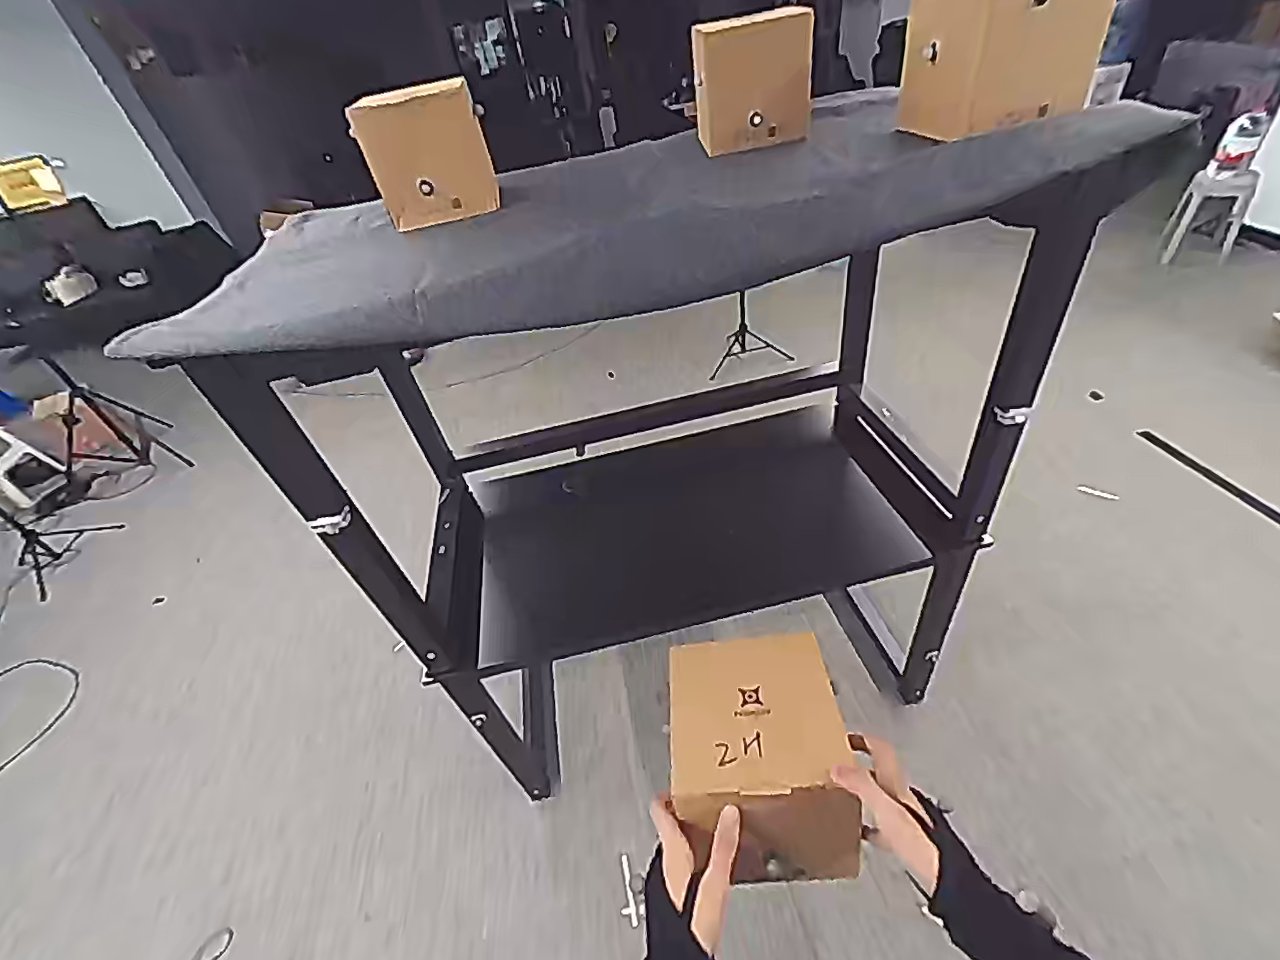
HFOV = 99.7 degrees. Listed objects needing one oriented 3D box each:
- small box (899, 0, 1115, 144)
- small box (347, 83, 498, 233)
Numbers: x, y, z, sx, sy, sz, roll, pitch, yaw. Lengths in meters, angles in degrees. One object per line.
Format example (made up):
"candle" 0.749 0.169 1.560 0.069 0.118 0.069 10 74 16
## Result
"small box" 0.474 -0.567 0.726 0.168 0.176 0.179 -13 39 0
"small box" -0.334 -0.517 0.869 0.168 0.176 0.179 -15 42 -3
